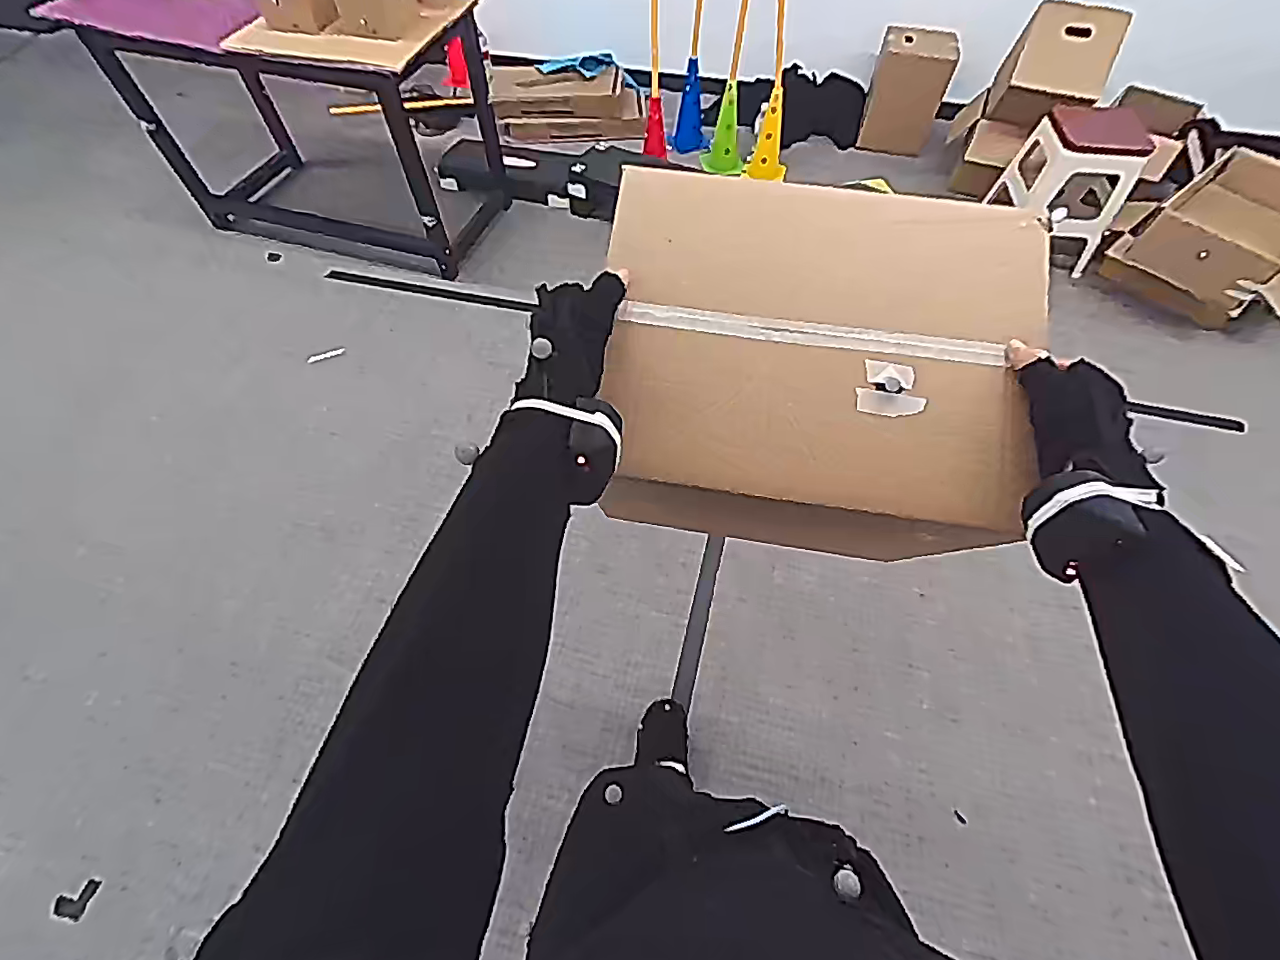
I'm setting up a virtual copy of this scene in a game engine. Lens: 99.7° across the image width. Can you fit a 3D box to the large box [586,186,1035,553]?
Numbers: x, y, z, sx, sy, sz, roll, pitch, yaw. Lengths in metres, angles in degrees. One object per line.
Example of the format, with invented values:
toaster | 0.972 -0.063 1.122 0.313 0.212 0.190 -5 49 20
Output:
large box | 0.170 -0.101 0.658 0.408 0.320 0.320 8 79 4
